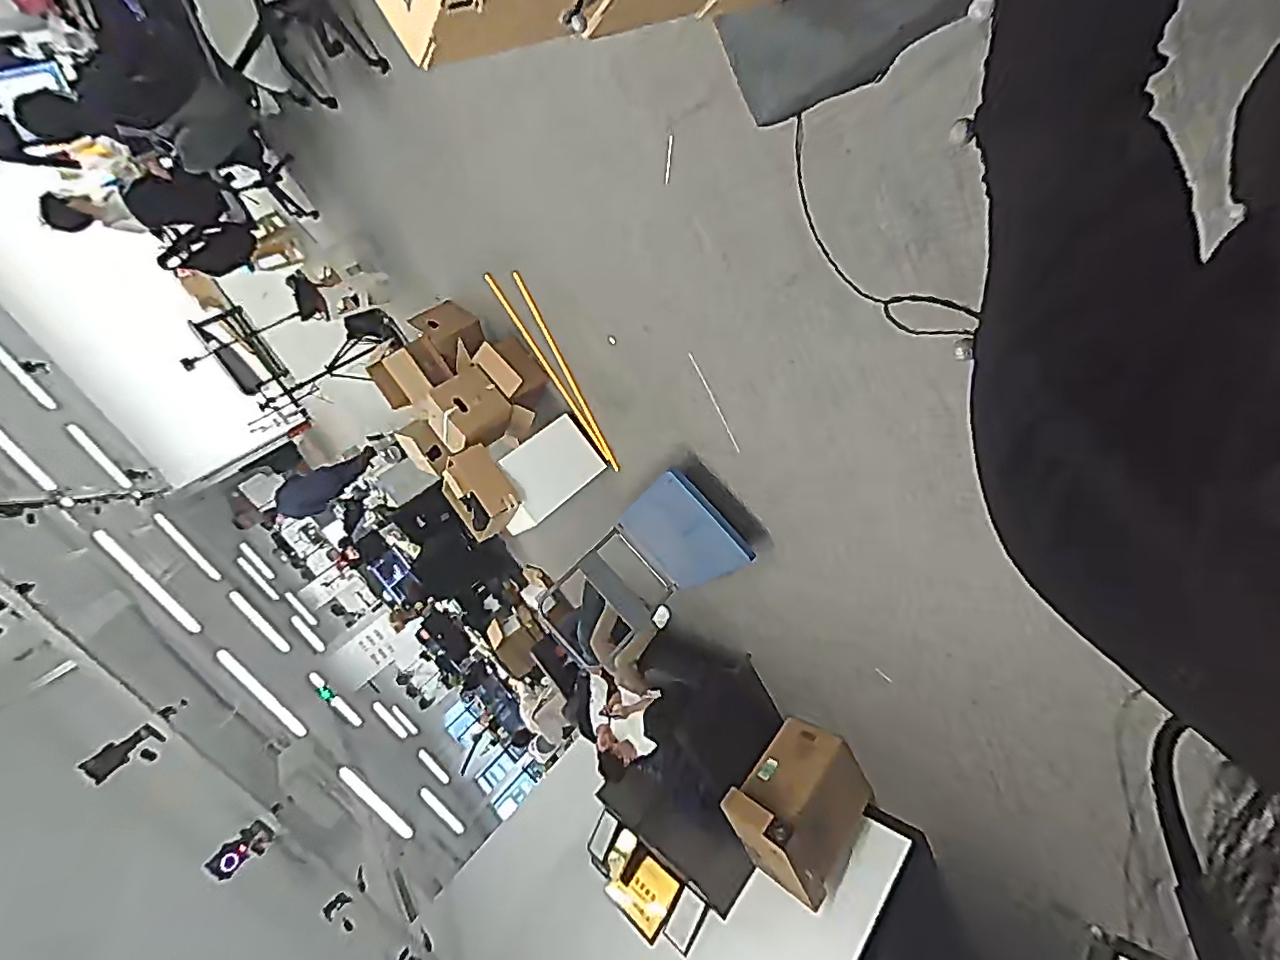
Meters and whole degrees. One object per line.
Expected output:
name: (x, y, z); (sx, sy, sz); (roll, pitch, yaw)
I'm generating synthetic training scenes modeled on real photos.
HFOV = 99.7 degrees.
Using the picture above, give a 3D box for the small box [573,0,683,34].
small box: (0.010, -0.512, 0.426); (0.168, 0.176, 0.179); (-3, 122, 54)

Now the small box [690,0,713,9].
small box: (0.117, -0.603, 0.508); (0.168, 0.176, 0.179); (-4, 123, 55)

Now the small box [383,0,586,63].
small box: (-0.101, -0.424, 0.344); (0.168, 0.176, 0.179); (-6, 120, 54)
